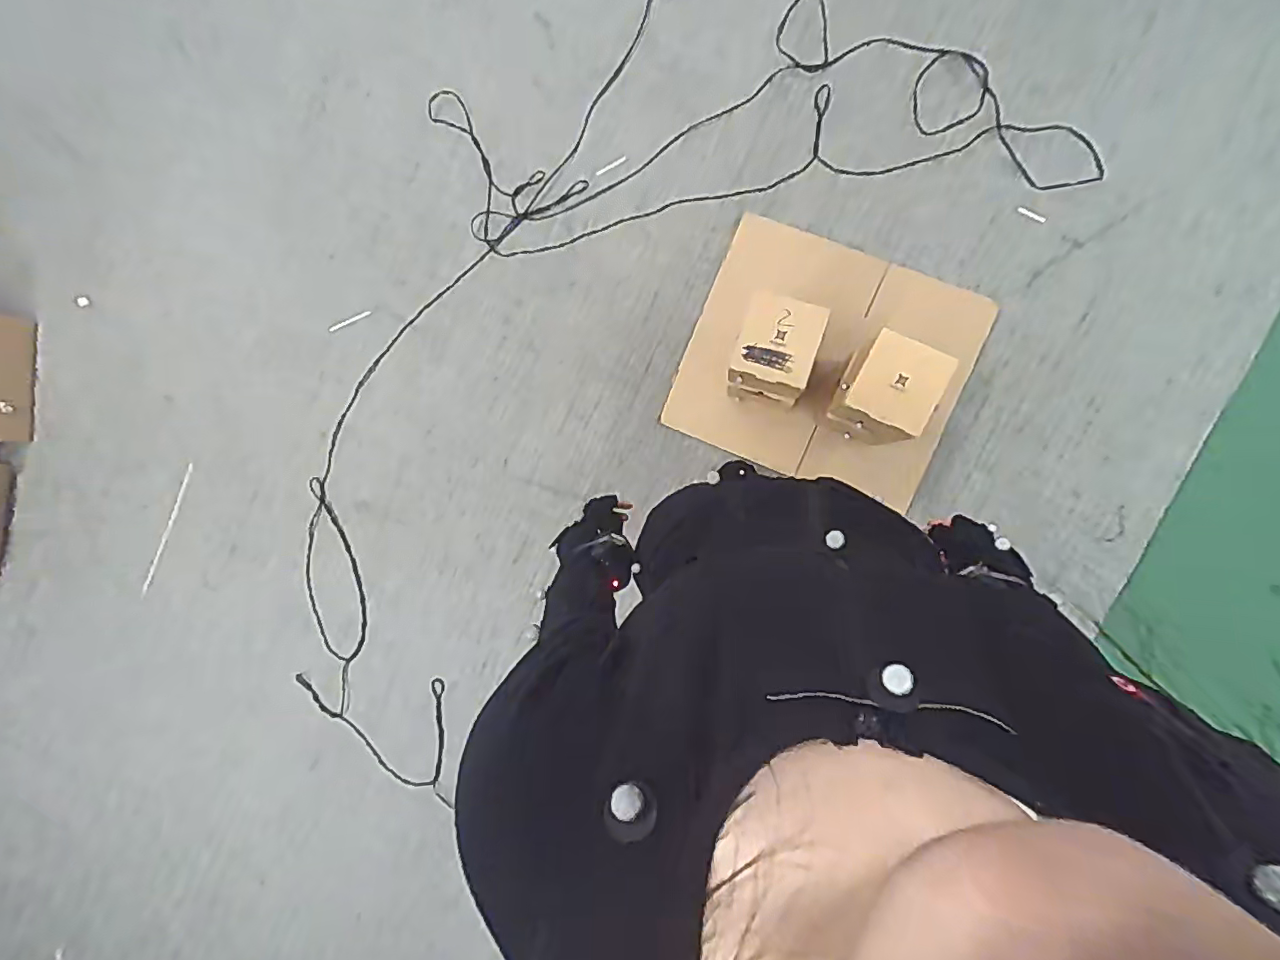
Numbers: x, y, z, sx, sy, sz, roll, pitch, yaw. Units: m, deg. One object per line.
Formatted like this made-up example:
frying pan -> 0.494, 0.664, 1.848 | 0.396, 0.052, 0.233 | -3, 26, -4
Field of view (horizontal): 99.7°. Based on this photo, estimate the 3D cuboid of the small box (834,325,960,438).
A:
small box -> 0.539, -0.203, 1.165 | 0.168, 0.176, 0.179 | 26, 96, 7

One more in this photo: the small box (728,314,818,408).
small box -> 0.326, -0.290, 1.355 | 0.168, 0.176, 0.179 | 19, 94, 8

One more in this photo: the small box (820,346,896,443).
small box -> 0.559, -0.202, 1.326 | 0.168, 0.176, 0.179 | 24, 95, 9
